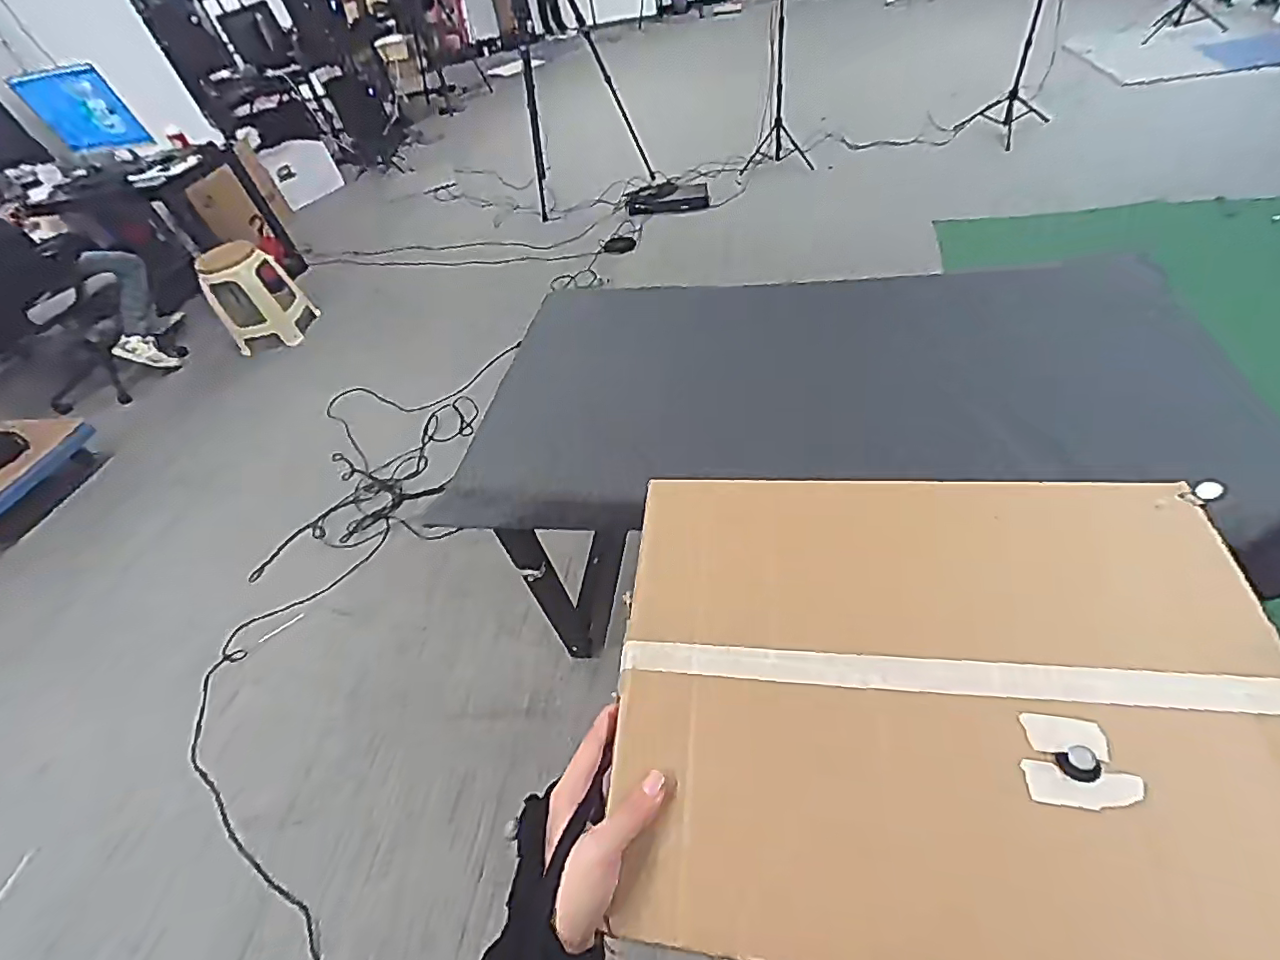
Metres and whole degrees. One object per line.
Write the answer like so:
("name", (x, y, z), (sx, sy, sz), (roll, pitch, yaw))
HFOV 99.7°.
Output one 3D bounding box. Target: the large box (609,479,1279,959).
("large box", (0.209, 0.211, 0.485), (0.408, 0.320, 0.320), (1, 55, 10))
